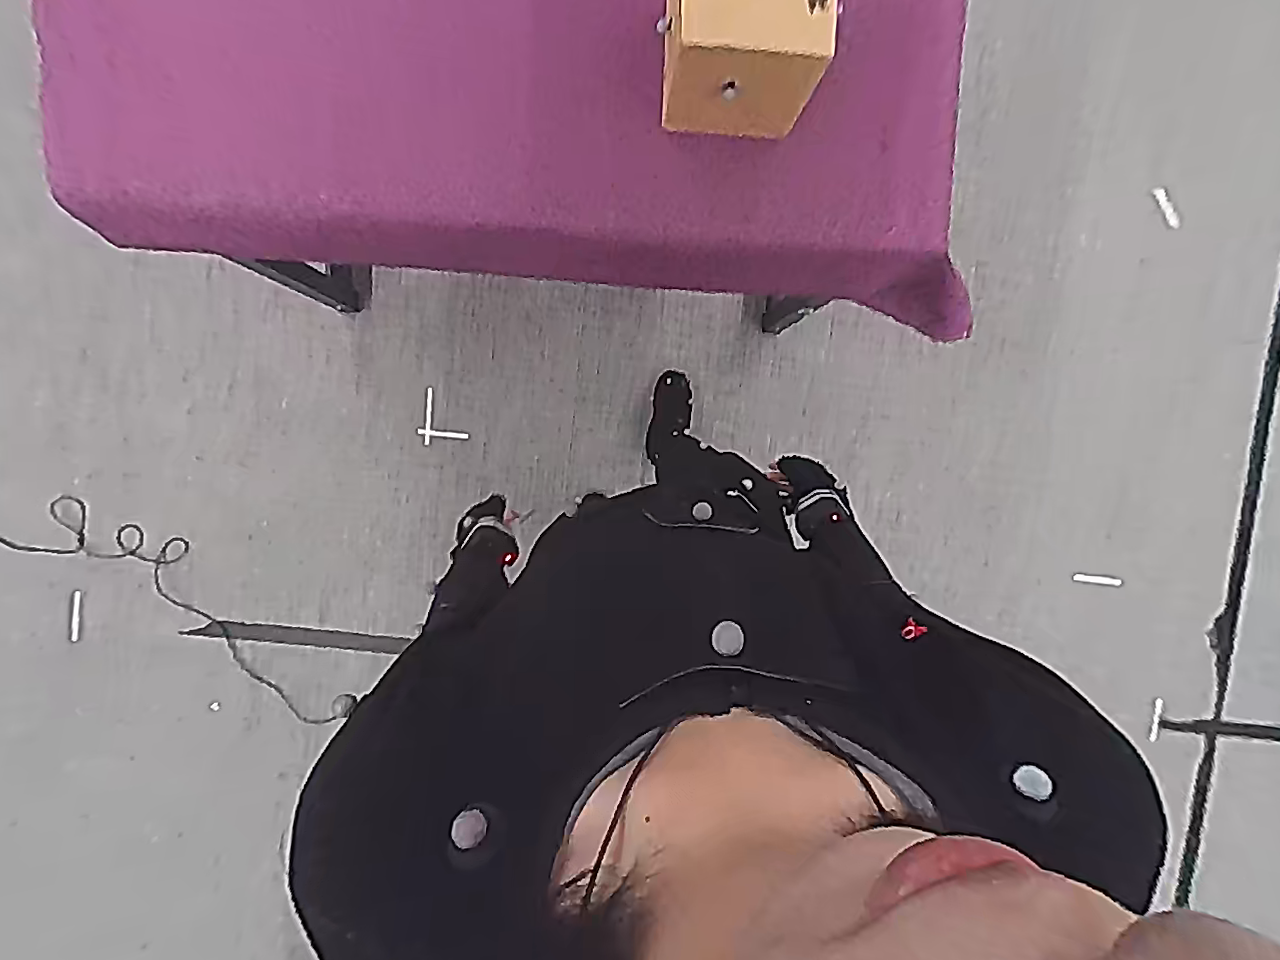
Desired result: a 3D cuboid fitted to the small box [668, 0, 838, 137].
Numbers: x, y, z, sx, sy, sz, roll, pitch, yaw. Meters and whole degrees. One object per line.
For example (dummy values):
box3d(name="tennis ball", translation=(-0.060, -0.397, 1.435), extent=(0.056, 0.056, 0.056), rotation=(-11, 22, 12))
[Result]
box3d(name="small box", translation=(0.128, -0.553, 0.664), extent=(0.179, 0.176, 0.168), rotation=(2, 94, -2))
